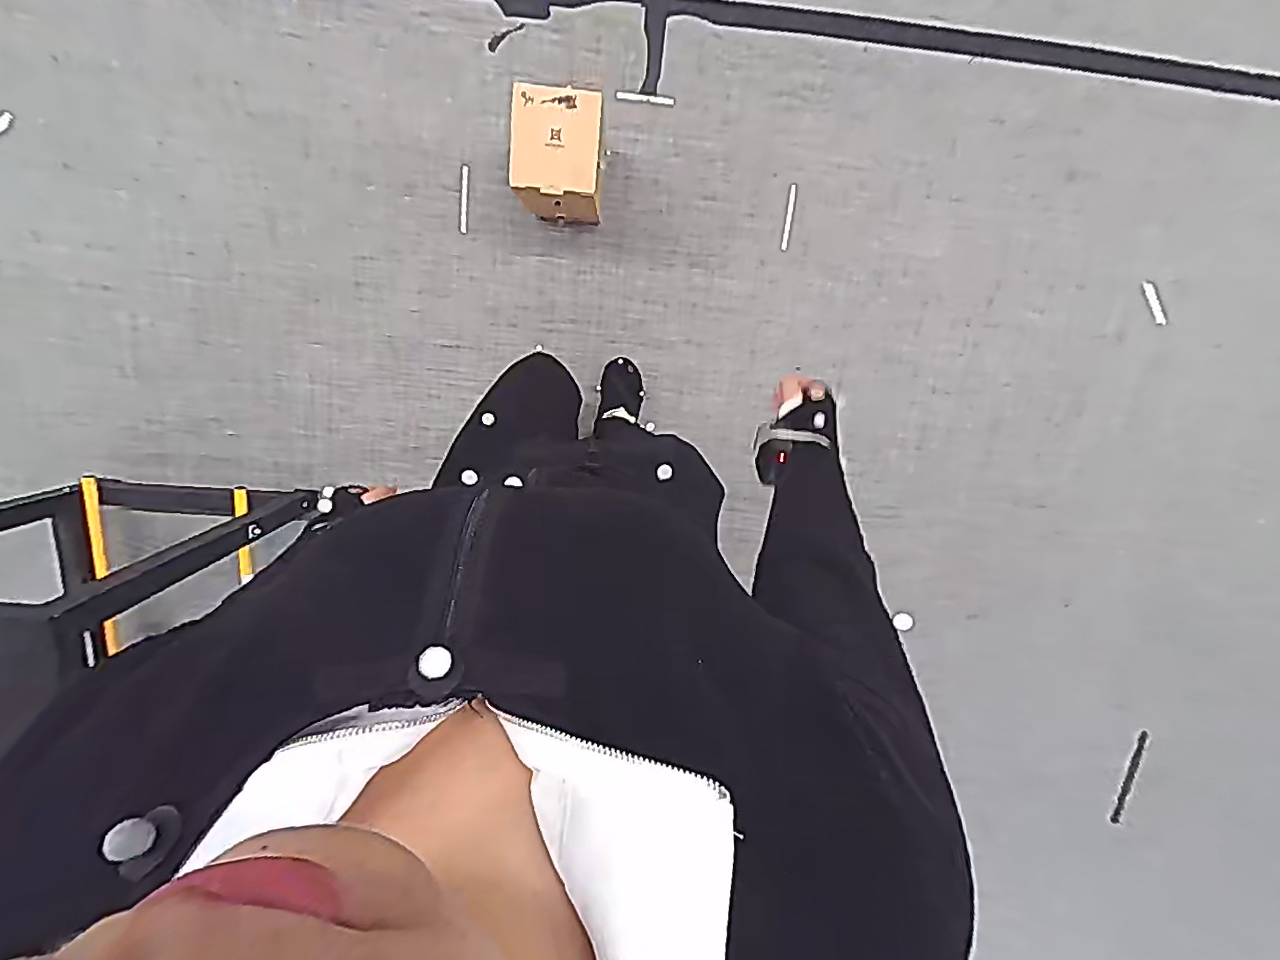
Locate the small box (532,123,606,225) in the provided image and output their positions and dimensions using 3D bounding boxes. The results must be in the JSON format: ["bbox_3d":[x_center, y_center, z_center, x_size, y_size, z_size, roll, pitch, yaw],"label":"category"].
[{"bbox_3d":[-0.167,-0.700,1.235,0.168,0.176,0.179,4,105,-2],"label":"small box"}]

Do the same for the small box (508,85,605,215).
[{"bbox_3d":[-0.160,-0.645,1.080,0.168,0.176,0.179,6,104,-3],"label":"small box"}]
